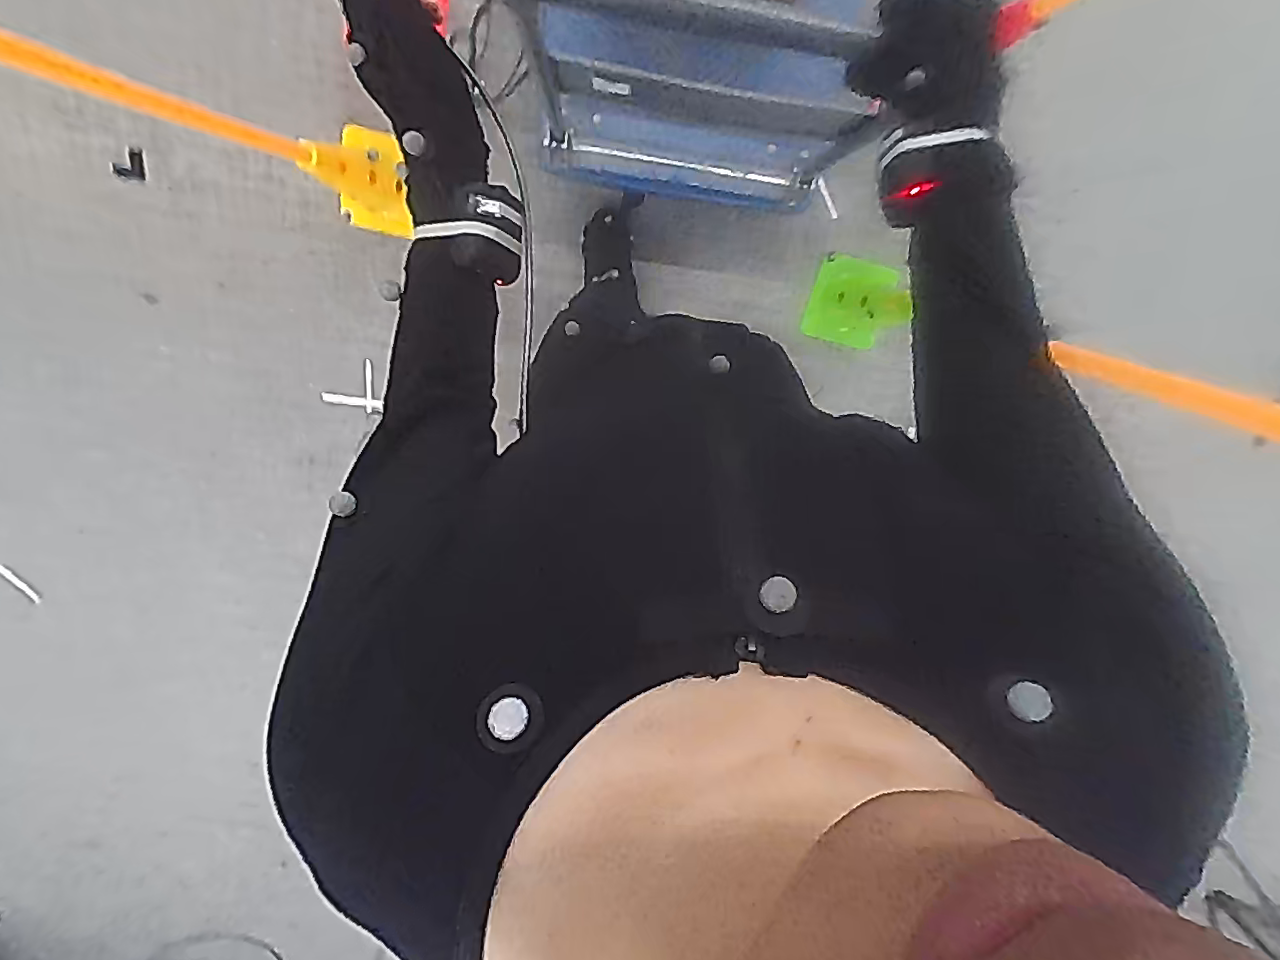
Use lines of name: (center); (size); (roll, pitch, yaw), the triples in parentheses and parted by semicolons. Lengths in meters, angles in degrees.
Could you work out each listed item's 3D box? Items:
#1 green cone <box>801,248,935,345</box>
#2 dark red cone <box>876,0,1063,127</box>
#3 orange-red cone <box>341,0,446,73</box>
green cone: (0.529, -0.392, 1.195); (0.202, 0.368, 0.200); (12, 111, -8)
dark red cone: (0.632, -0.828, 1.008); (0.201, 0.394, 0.202); (8, 111, -7)
orange-red cone: (-0.497, -0.920, 0.955); (0.198, 0.360, 0.199); (15, 109, -9)
